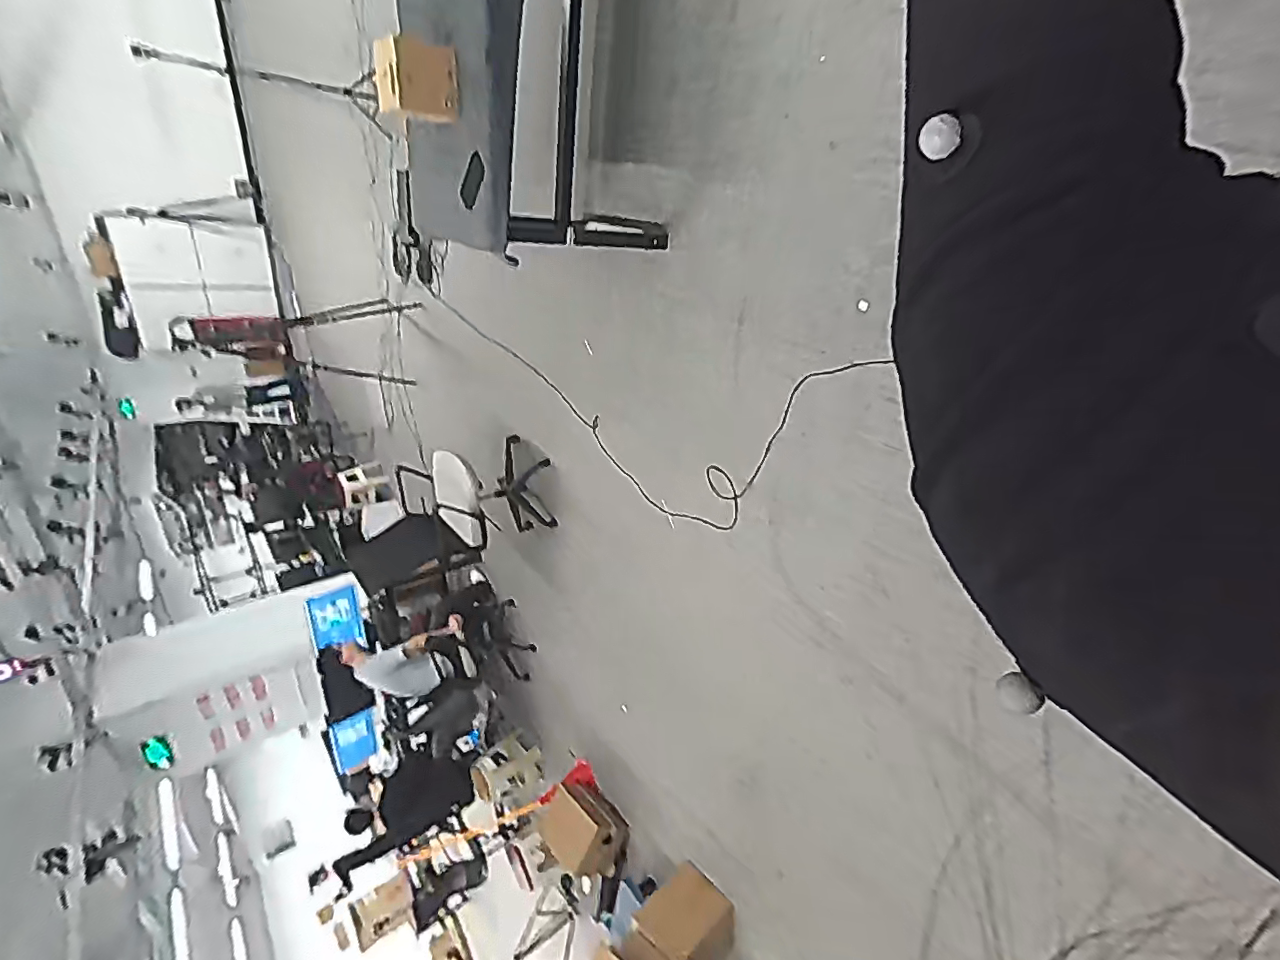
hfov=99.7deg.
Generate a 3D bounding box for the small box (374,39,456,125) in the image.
[{"bbox_3d":[-0.629,-1.118,1.529,0.179,0.176,0.168,32,126,42],"label":"small box"}]
